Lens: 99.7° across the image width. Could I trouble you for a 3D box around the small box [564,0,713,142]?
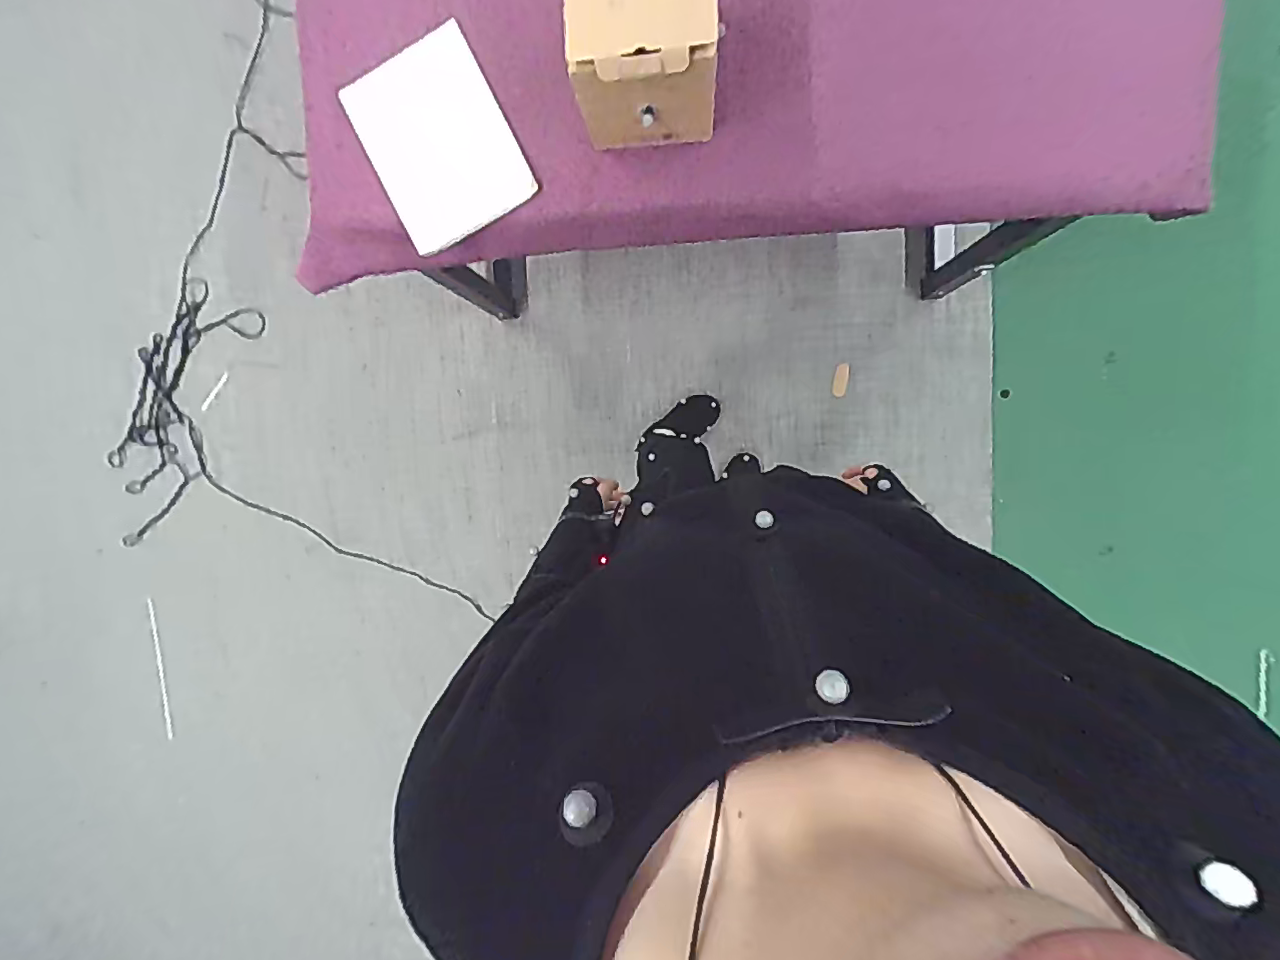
[{"bbox_3d":[0.006,-0.544,0.664,0.168,0.176,0.179,-1,95,6],"label":"small box"}]
